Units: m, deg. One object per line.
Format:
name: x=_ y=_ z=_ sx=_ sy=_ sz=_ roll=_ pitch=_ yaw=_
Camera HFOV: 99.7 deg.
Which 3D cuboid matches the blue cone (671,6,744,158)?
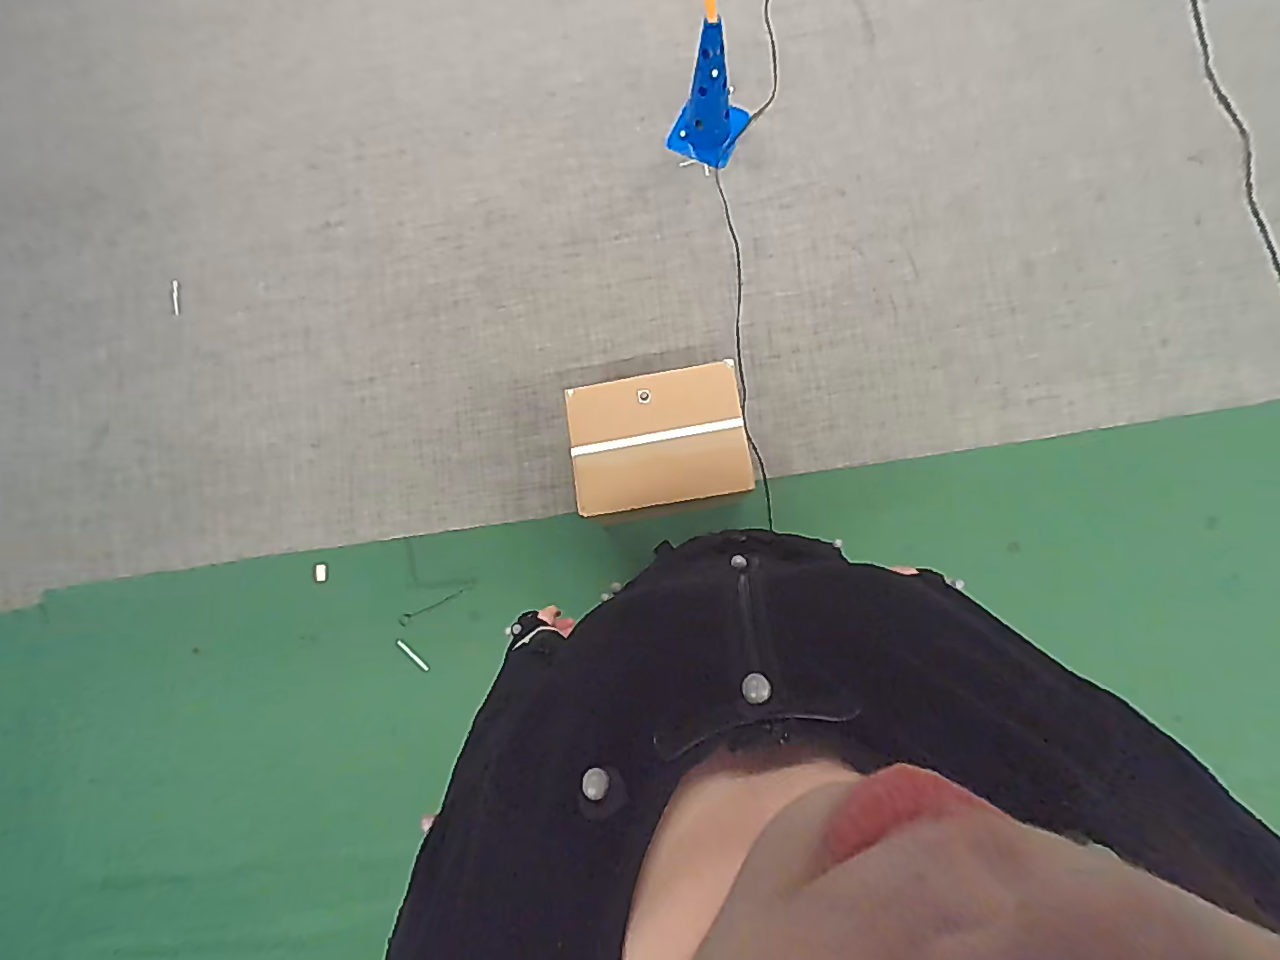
blue cone: x=0.187 y=-1.084 z=1.460 sx=0.192 sy=0.380 sz=0.193 roll=24 pitch=87 yaw=8
